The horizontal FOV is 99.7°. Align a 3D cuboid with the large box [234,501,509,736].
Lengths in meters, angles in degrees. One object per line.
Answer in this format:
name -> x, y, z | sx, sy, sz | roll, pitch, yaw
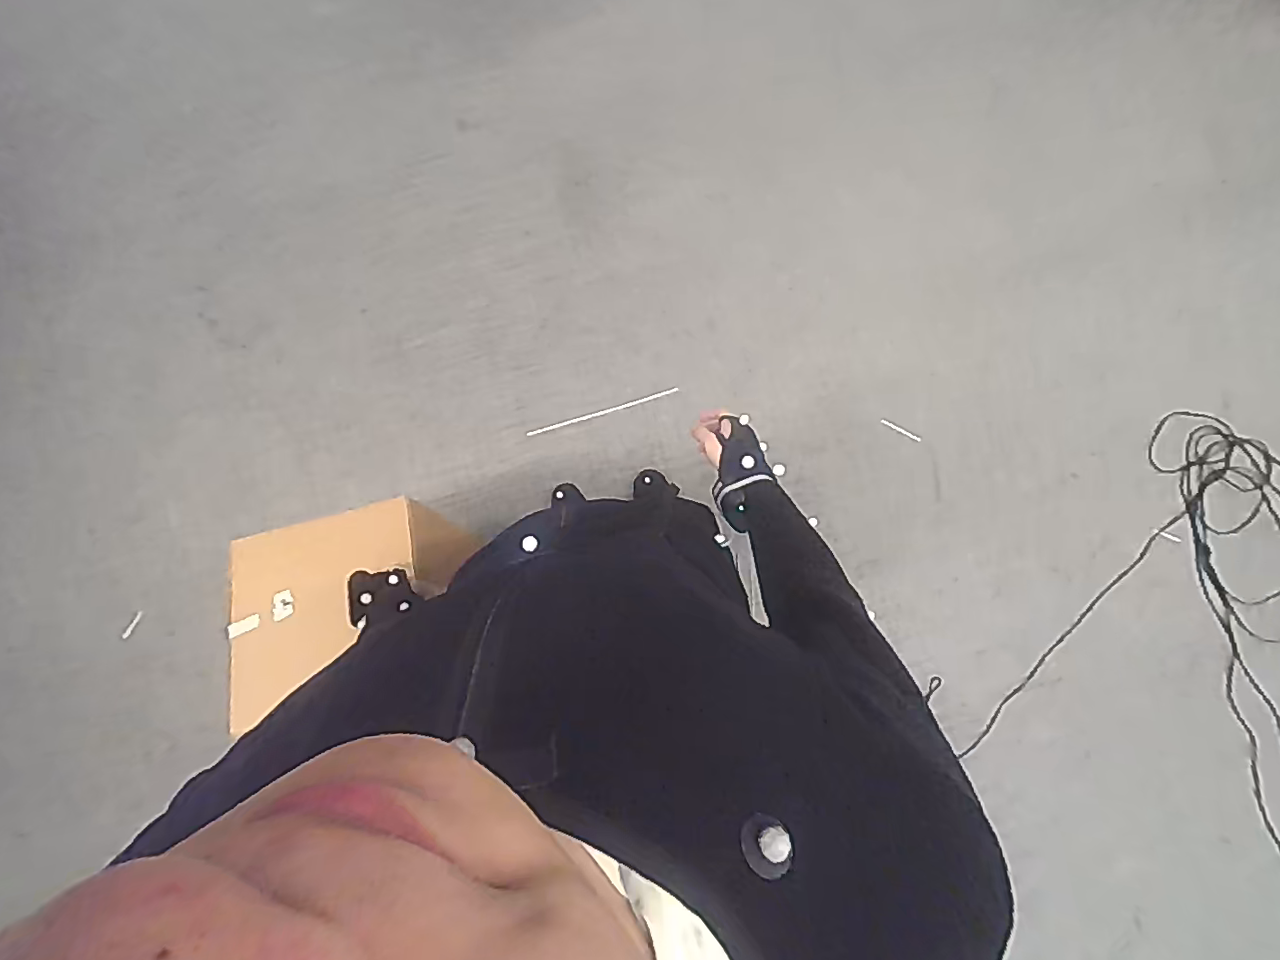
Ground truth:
large box -> -0.486, 0.268, 1.049 | 0.320, 0.408, 0.320 | -14, 72, 0
